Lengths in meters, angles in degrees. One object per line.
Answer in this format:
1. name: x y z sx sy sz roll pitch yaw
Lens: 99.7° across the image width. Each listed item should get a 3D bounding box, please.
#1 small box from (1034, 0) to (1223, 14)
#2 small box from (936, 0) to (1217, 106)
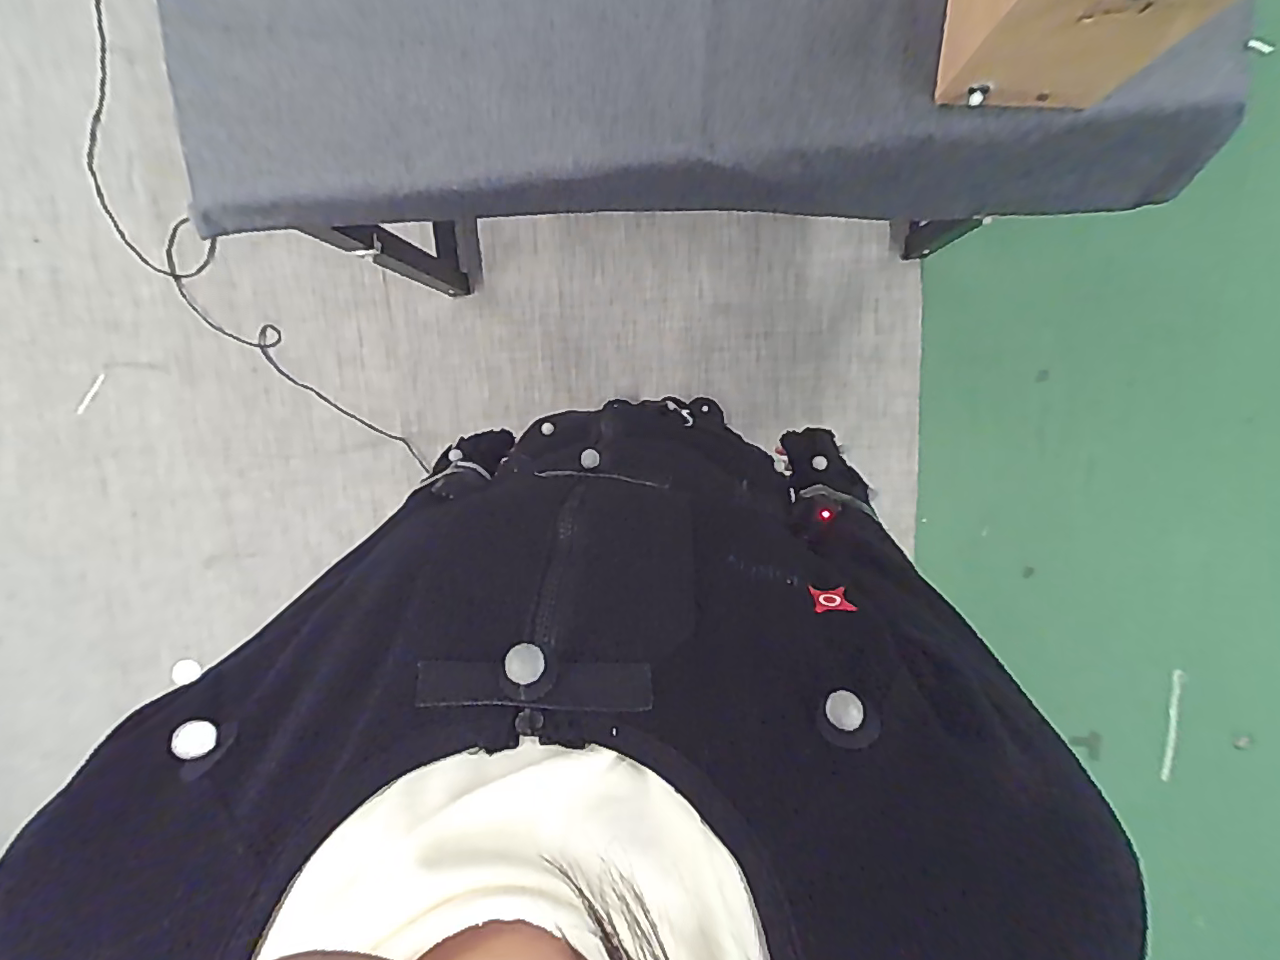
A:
1. small box: 0.393 -0.462 0.353 0.168 0.176 0.179 6 100 5
2. small box: 0.408 -0.489 0.511 0.168 0.176 0.179 5 98 4
